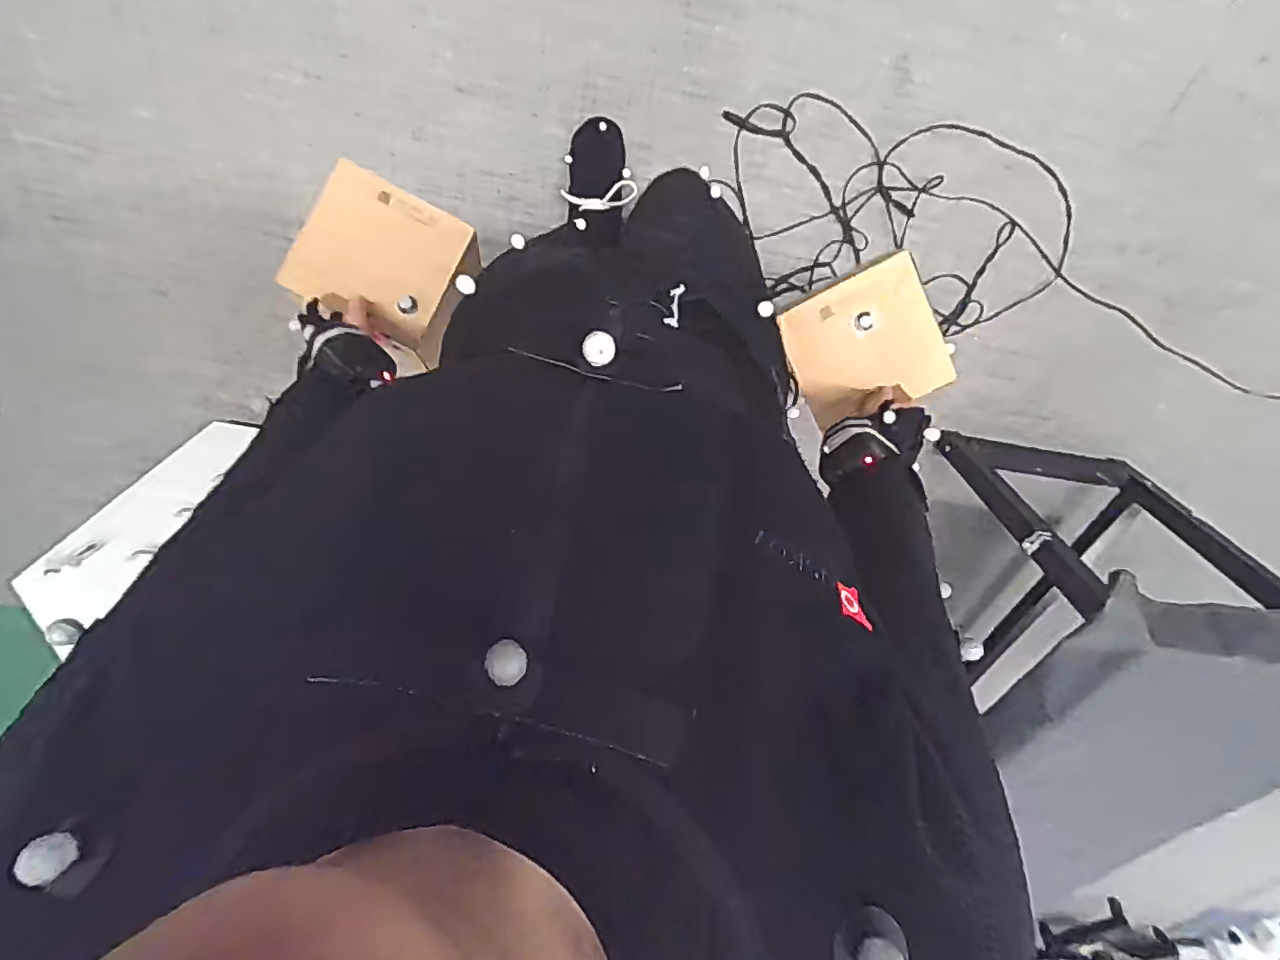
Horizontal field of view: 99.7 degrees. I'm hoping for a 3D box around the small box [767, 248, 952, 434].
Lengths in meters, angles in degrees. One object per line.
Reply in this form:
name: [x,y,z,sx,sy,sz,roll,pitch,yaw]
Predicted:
small box: [0.278,-0.189,0.718,0.168,0.179,0.176,-24,104,22]
